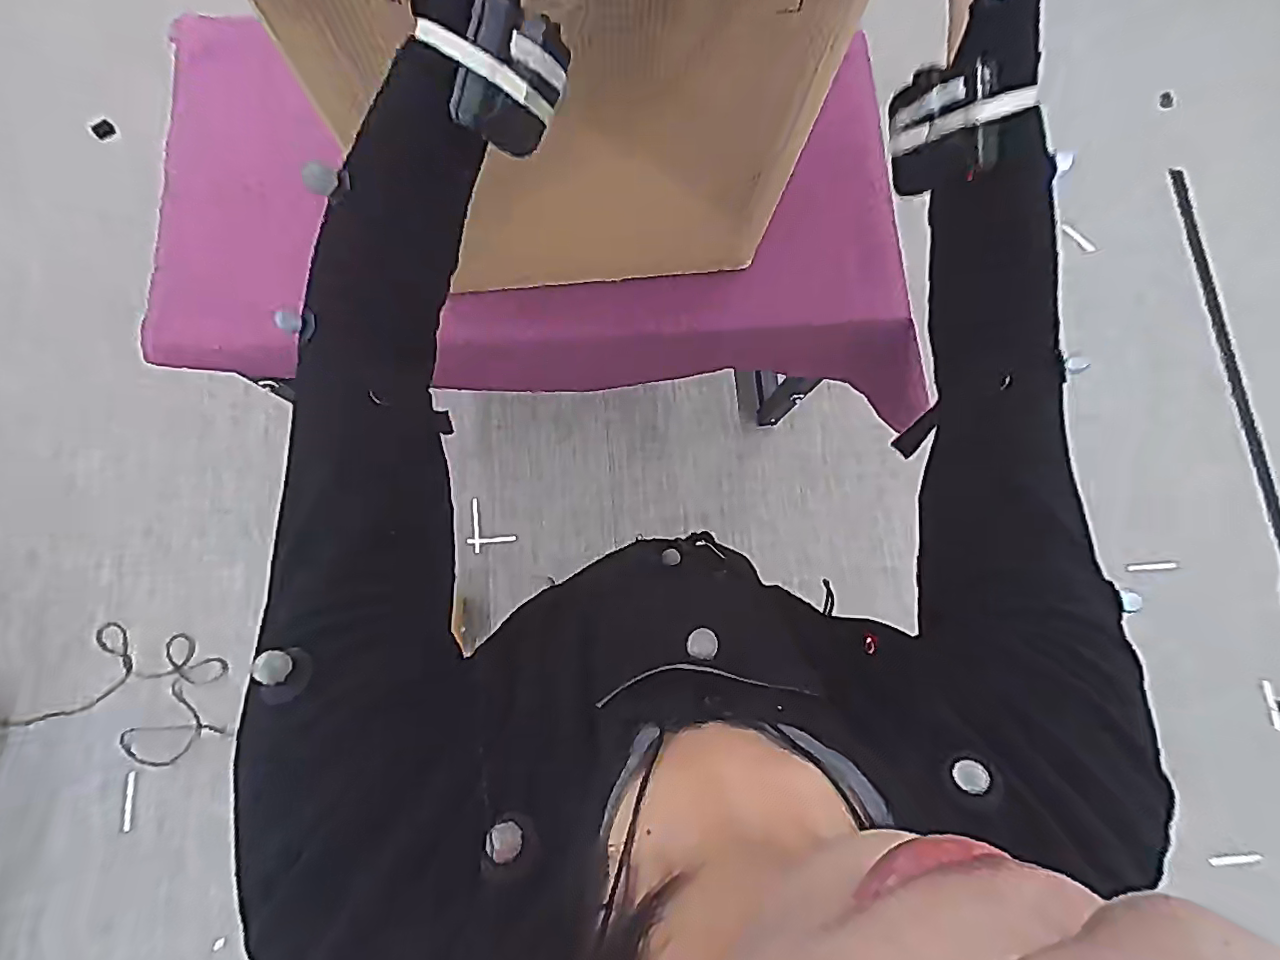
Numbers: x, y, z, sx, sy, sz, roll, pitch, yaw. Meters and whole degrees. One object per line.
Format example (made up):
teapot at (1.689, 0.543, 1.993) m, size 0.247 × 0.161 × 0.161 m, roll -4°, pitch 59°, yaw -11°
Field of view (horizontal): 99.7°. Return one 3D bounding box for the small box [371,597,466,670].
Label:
small box at (-0.559, 0.388, 1.381) m, size 0.179 × 0.176 × 0.168 m, roll -1°, pitch 80°, yaw -3°
